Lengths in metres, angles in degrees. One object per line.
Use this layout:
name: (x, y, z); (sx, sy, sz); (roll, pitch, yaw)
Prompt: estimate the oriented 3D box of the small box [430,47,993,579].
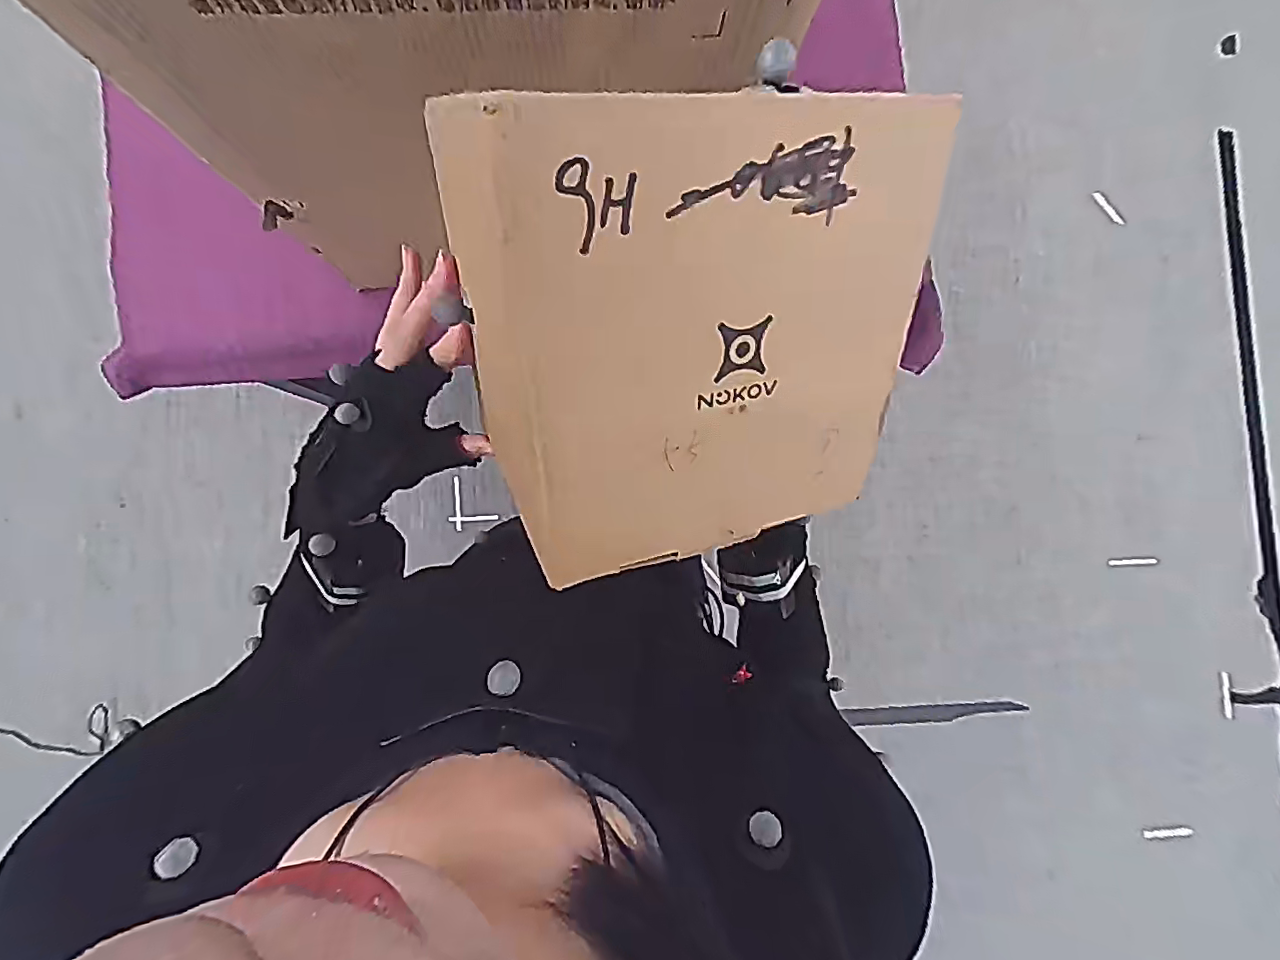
small box: (0.008, -0.089, 0.258); (0.168, 0.176, 0.179); (-14, 128, -19)
